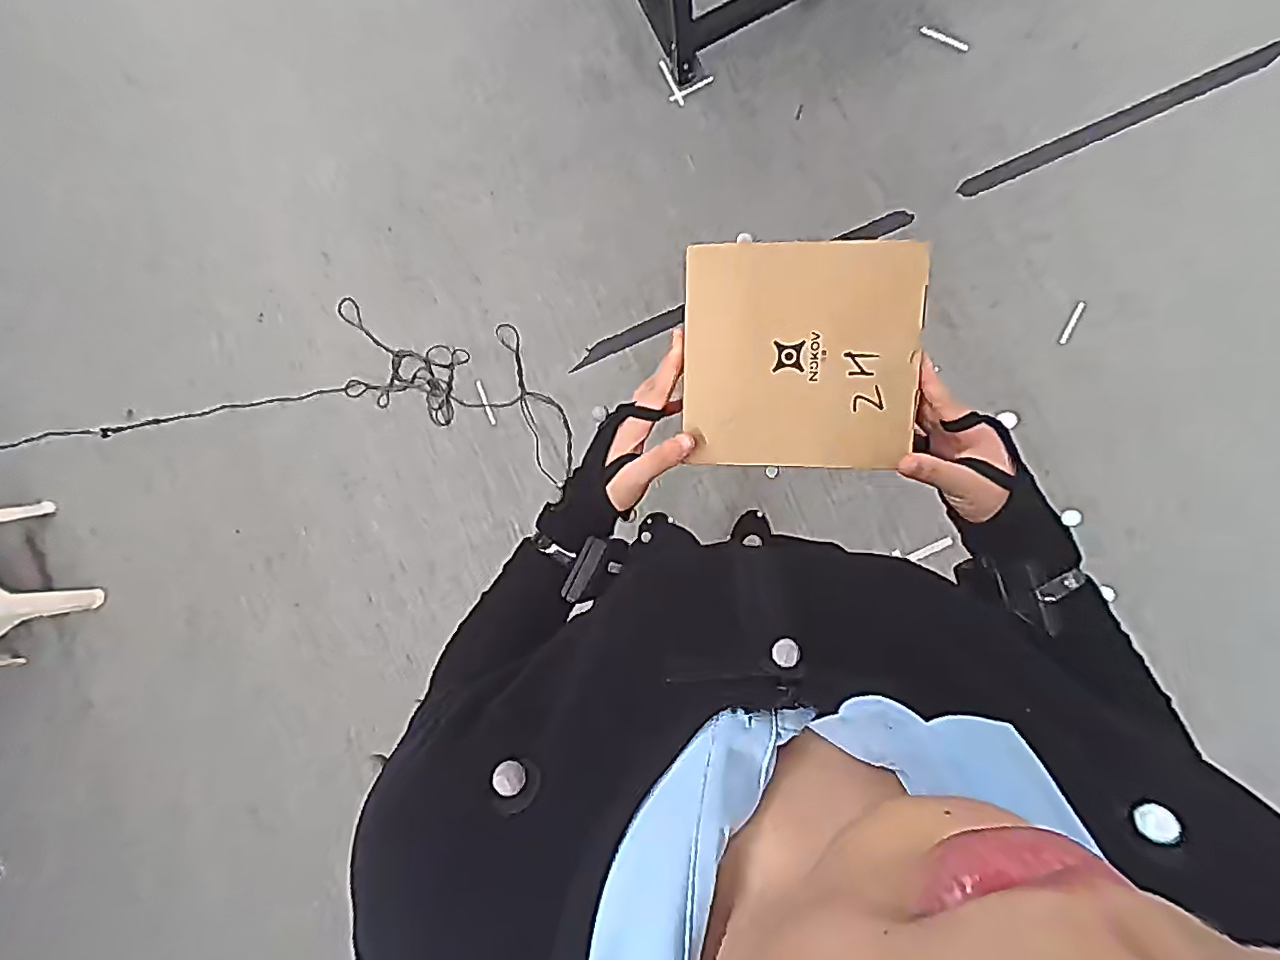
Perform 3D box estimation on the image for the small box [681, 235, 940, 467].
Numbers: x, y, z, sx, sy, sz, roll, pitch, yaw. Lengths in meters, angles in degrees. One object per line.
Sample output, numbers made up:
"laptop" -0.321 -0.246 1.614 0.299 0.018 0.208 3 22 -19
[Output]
"small box" 0.130 -0.107 0.477 0.179 0.176 0.168 2 101 6
